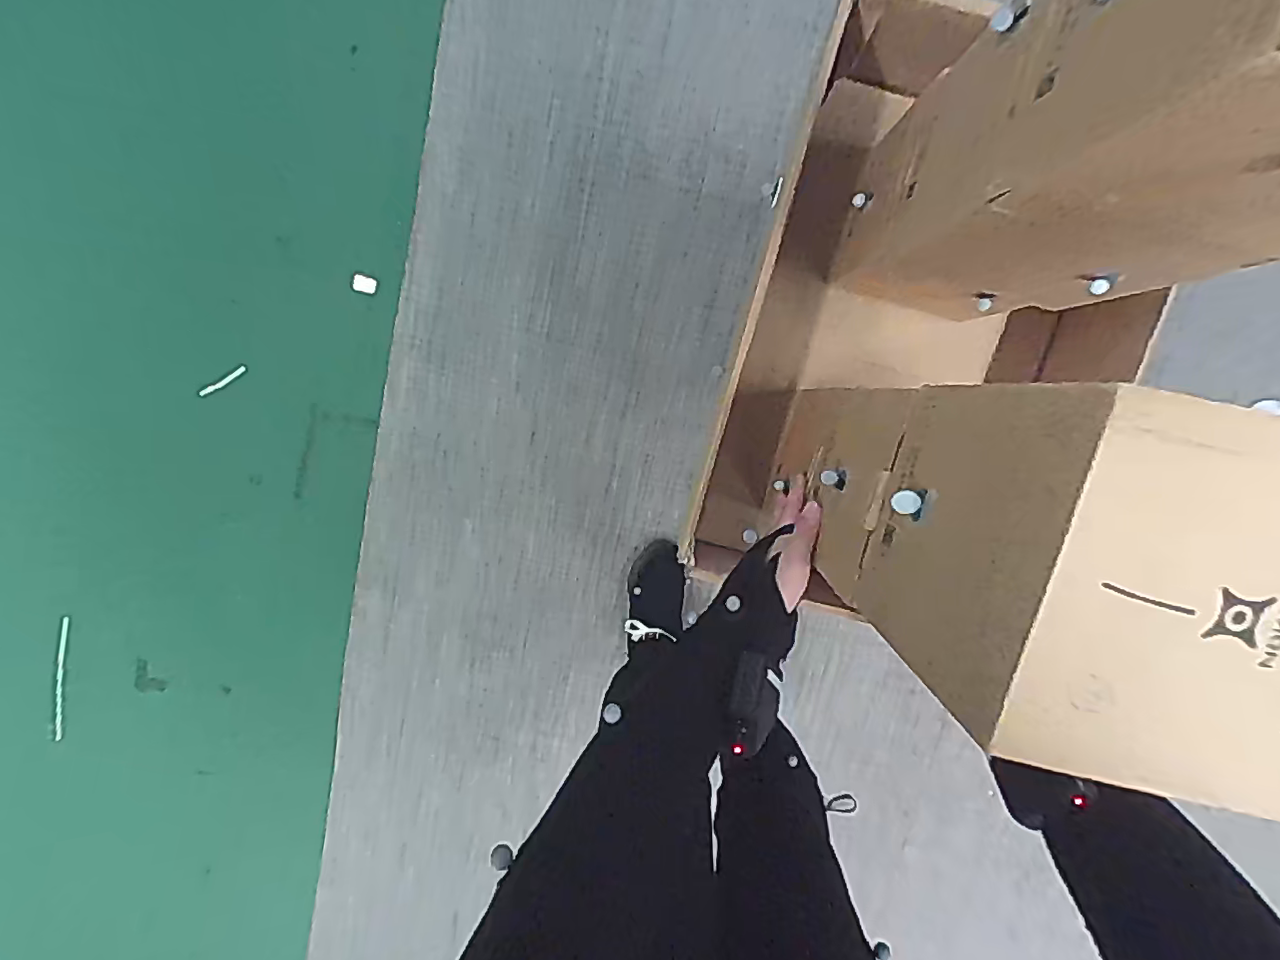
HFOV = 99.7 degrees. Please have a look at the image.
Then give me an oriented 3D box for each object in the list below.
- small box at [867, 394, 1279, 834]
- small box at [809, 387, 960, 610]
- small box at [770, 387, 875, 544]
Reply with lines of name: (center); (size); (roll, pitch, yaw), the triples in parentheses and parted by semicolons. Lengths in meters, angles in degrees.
small box: (0.257, 0.049, 0.295); (0.179, 0.176, 0.168); (13, 100, 1)
small box: (0.262, 0.024, 0.458); (0.179, 0.176, 0.168); (14, 100, 1)
small box: (0.266, -0.001, 0.620); (0.179, 0.176, 0.168); (17, 99, -2)
